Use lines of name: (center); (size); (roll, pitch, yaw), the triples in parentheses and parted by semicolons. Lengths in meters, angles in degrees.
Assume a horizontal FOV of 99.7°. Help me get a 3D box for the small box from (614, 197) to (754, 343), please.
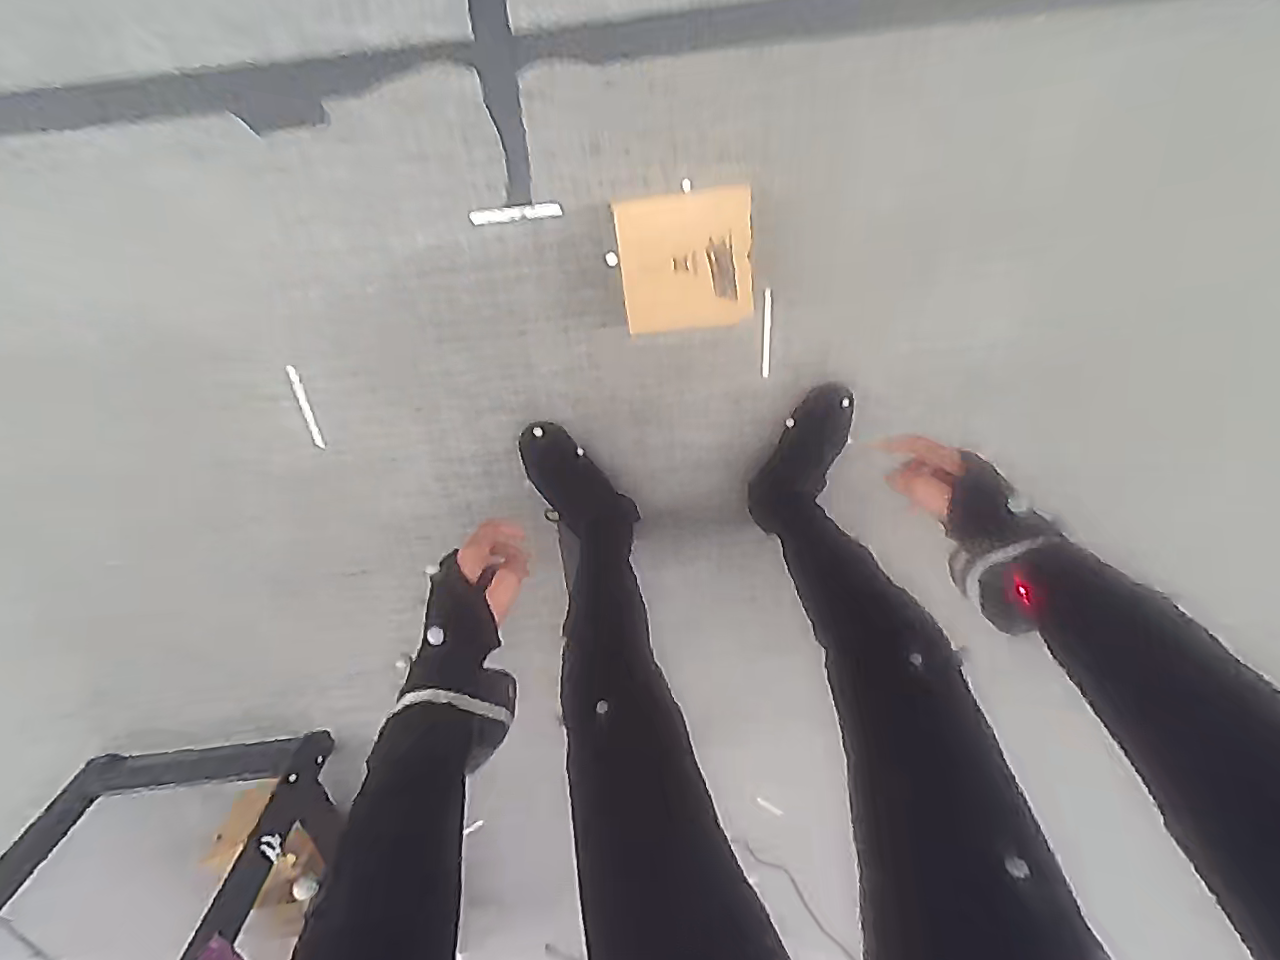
small box: (0.059, -0.310, 0.785); (0.179, 0.176, 0.168); (-8, 118, 1)

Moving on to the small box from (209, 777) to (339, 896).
small box: (-0.904, 0.890, 1.355); (0.179, 0.176, 0.168); (-32, 115, 14)
